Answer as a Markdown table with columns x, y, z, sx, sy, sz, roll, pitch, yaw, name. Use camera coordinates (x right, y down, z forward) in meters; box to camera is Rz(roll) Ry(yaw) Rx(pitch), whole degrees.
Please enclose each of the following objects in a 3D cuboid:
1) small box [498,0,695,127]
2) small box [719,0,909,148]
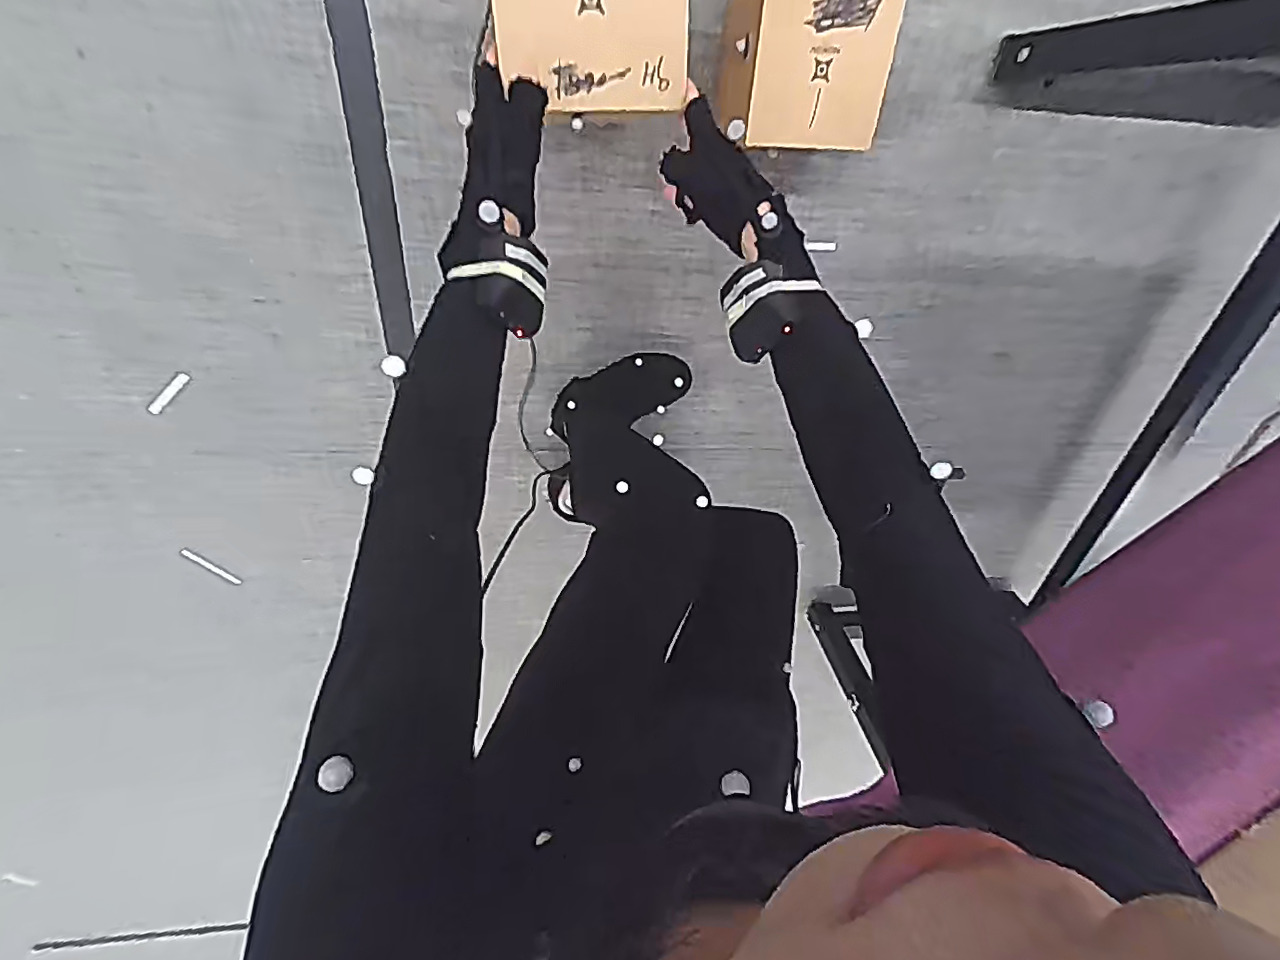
| x | y | z | sx | sy | sz | roll | pitch | yaw | name |
| --- | --- | --- | --- | --- | --- | --- | --- | --- | --- |
| -0.048 | -0.443 | 0.504 | 0.168 | 0.176 | 0.179 | -5 | 119 | -8 | small box |
| 0.205 | -0.530 | 0.686 | 0.168 | 0.176 | 0.179 | -2 | 124 | -7 | small box |
